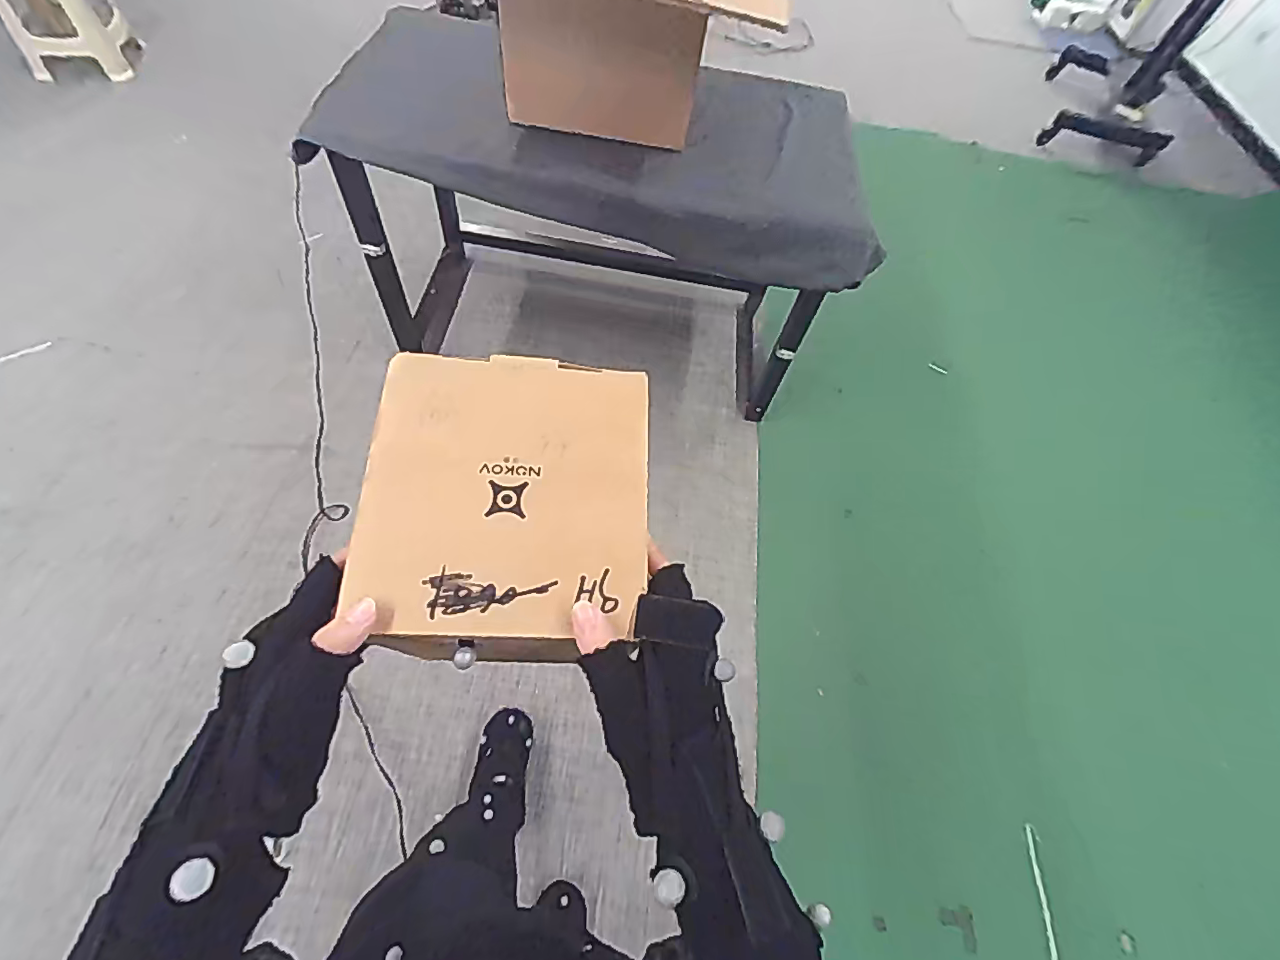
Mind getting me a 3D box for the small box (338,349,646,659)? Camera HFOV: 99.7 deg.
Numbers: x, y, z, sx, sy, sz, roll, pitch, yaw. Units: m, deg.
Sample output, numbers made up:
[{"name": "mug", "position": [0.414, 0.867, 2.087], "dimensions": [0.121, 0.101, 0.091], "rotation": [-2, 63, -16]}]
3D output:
[{"name": "small box", "position": [-0.088, 0.030, 0.400], "dimensions": [0.168, 0.176, 0.179], "rotation": [3, 66, -6]}]
